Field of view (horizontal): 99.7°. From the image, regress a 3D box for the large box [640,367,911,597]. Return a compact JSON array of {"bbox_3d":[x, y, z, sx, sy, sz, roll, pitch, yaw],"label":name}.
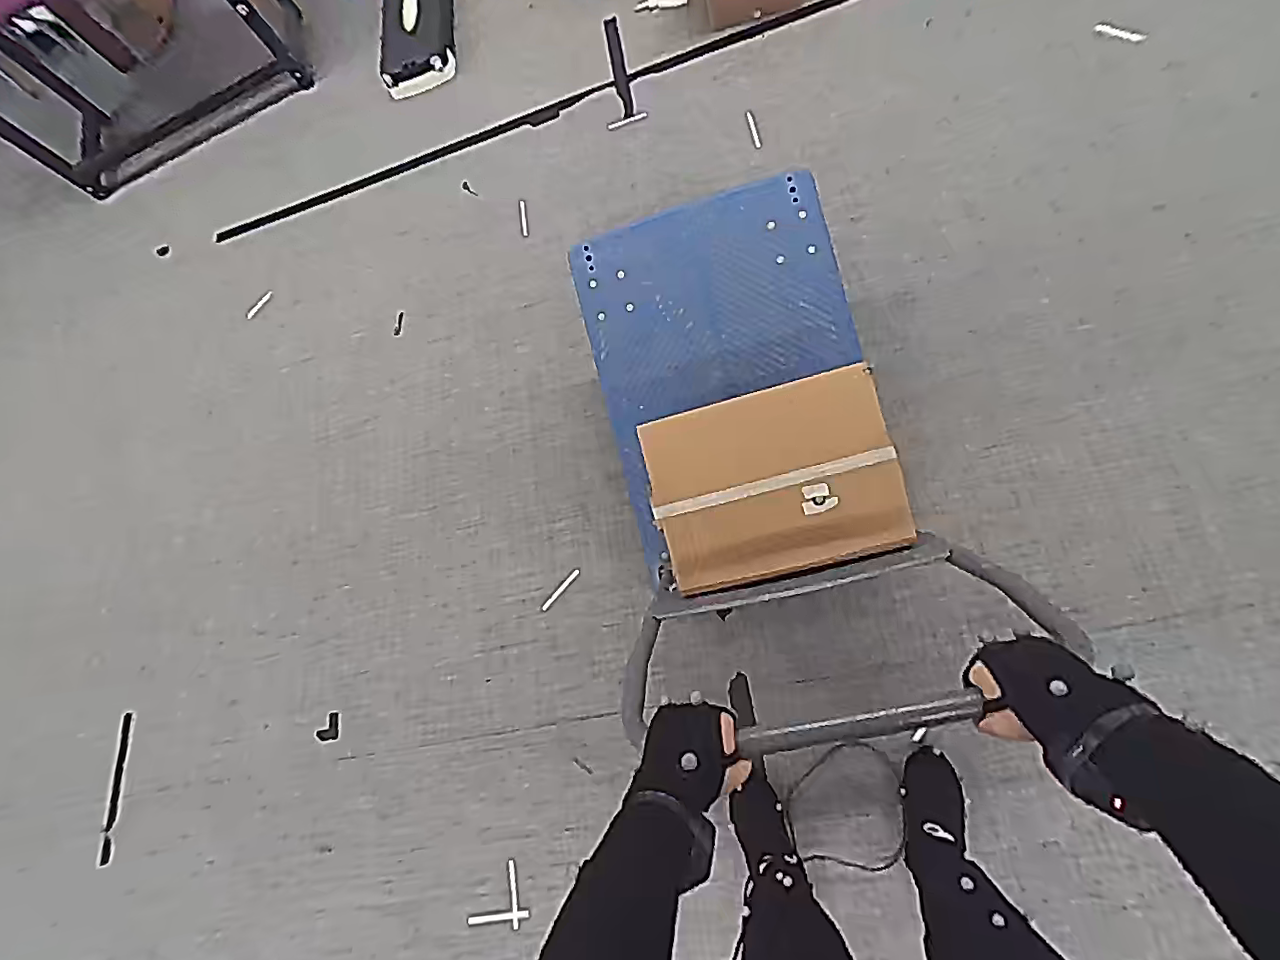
[{"bbox_3d":[0.248,0.009,1.083,0.408,0.320,0.320,-16,88,8],"label":"large box"}]
